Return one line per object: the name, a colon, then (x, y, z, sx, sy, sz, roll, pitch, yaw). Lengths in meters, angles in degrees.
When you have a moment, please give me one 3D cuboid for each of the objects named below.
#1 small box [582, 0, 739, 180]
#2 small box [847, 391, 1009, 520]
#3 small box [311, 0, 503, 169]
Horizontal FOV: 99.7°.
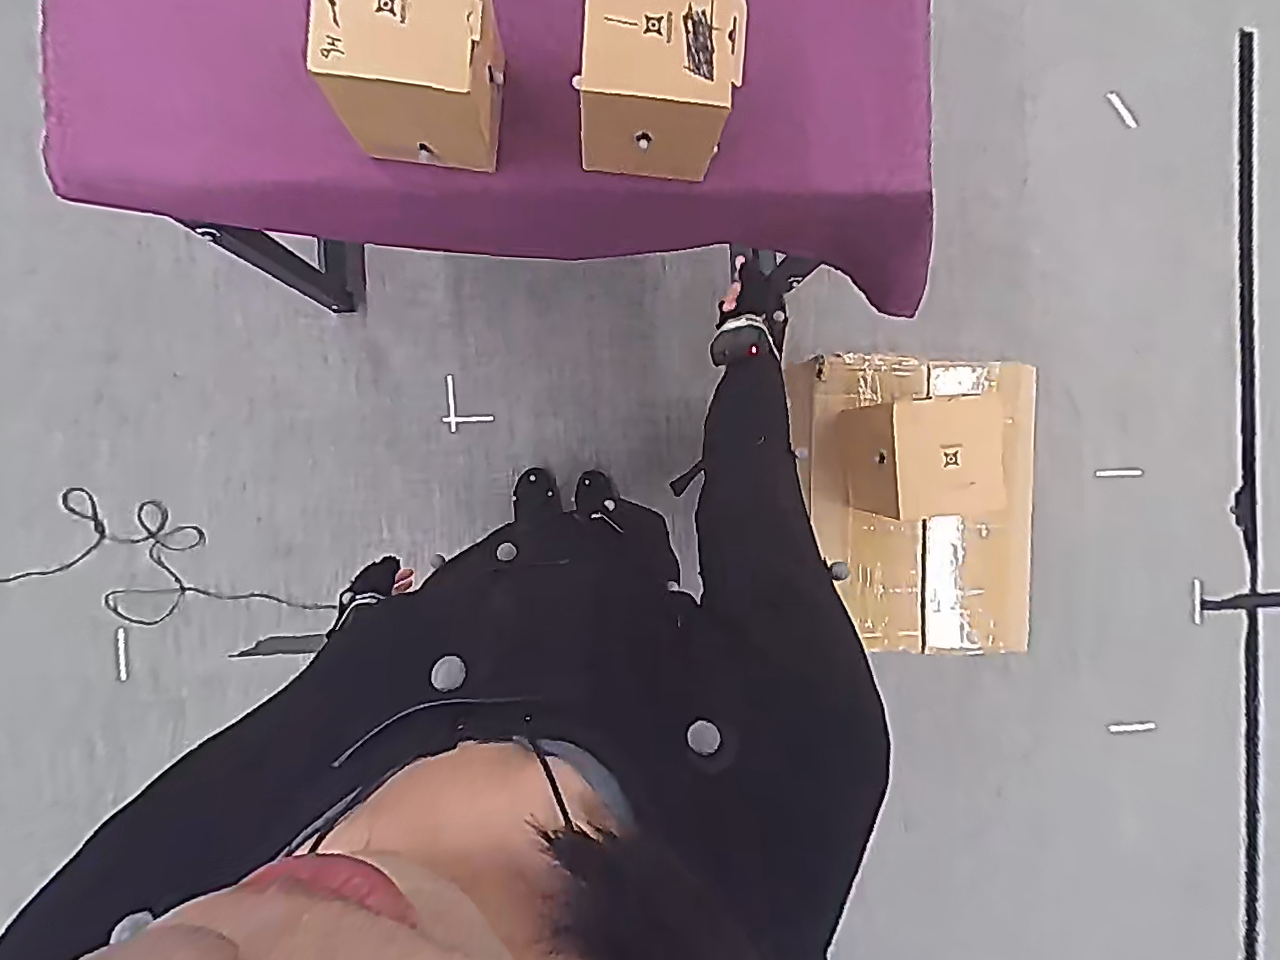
small box: (0.018, -0.517, 0.699, 0.179, 0.176, 0.168, 3, 90, -5)
small box: (0.442, -0.038, 0.856, 0.168, 0.176, 0.179, -6, 93, -2)
small box: (-0.273, -0.518, 0.673, 0.179, 0.176, 0.168, 5, 90, -6)
